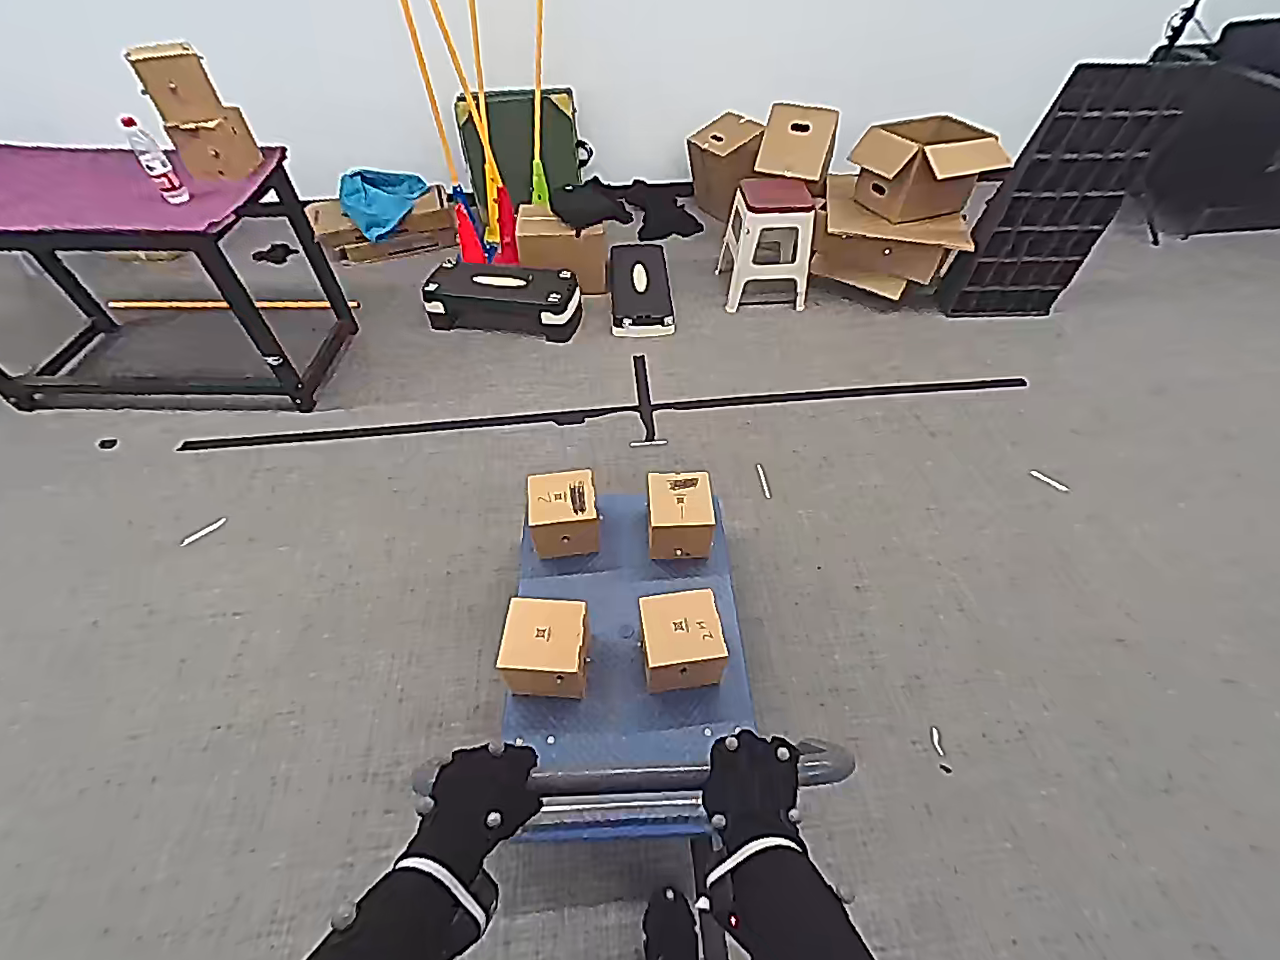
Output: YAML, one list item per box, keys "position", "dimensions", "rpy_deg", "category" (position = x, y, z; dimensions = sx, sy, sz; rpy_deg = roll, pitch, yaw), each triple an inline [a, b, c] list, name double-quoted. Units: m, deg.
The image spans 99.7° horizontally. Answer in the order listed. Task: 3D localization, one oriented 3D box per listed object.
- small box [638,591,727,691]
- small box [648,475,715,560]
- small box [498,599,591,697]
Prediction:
- position: [0.093, 0.380, 1.265]
  dimensions: [0.179, 0.176, 0.168]
  rpy_deg: [-6, 52, -5]
  category: "small box"
- position: [0.108, 0.103, 1.488]
  dimensions: [0.168, 0.176, 0.179]
  rpy_deg: [-1, 53, -1]
  category: "small box"
- position: [-0.213, 0.392, 1.255]
  dimensions: [0.179, 0.176, 0.168]
  rpy_deg: [3, 51, 1]
  category: "small box"
